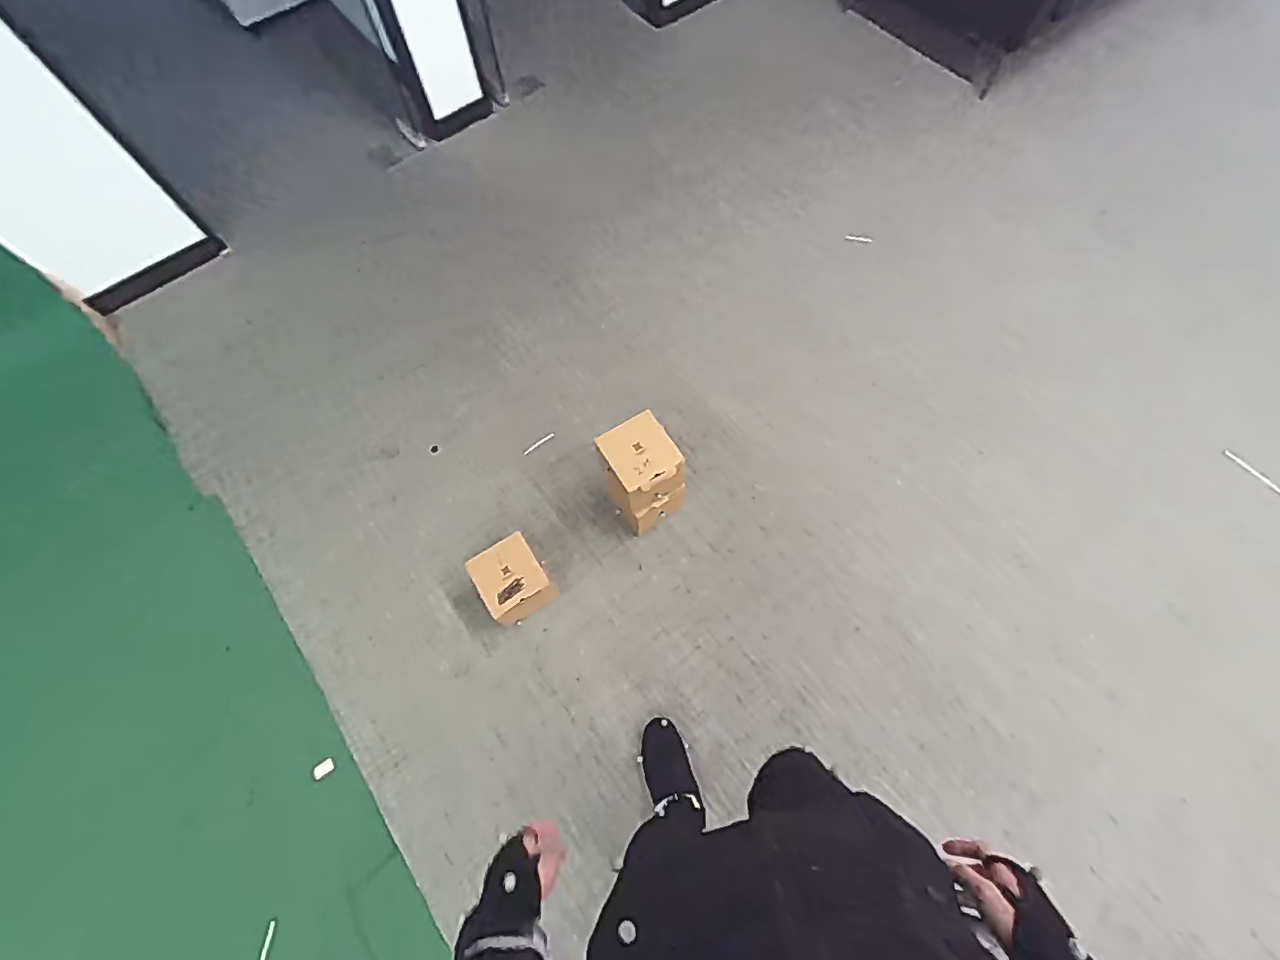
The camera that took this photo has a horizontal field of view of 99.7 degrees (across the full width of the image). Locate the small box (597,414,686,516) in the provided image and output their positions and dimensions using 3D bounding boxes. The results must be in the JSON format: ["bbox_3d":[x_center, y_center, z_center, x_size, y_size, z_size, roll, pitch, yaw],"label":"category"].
[{"bbox_3d":[0.003,-0.035,1.418,0.168,0.176,0.179,-30,70,-10],"label":"small box"}]

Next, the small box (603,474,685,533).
[{"bbox_3d":[0.013,0.037,1.567,0.168,0.176,0.179,-34,71,-12],"label":"small box"}]

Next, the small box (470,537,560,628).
[{"bbox_3d":[-0.336,0.289,1.487,0.168,0.176,0.179,-31,69,-12],"label":"small box"}]
